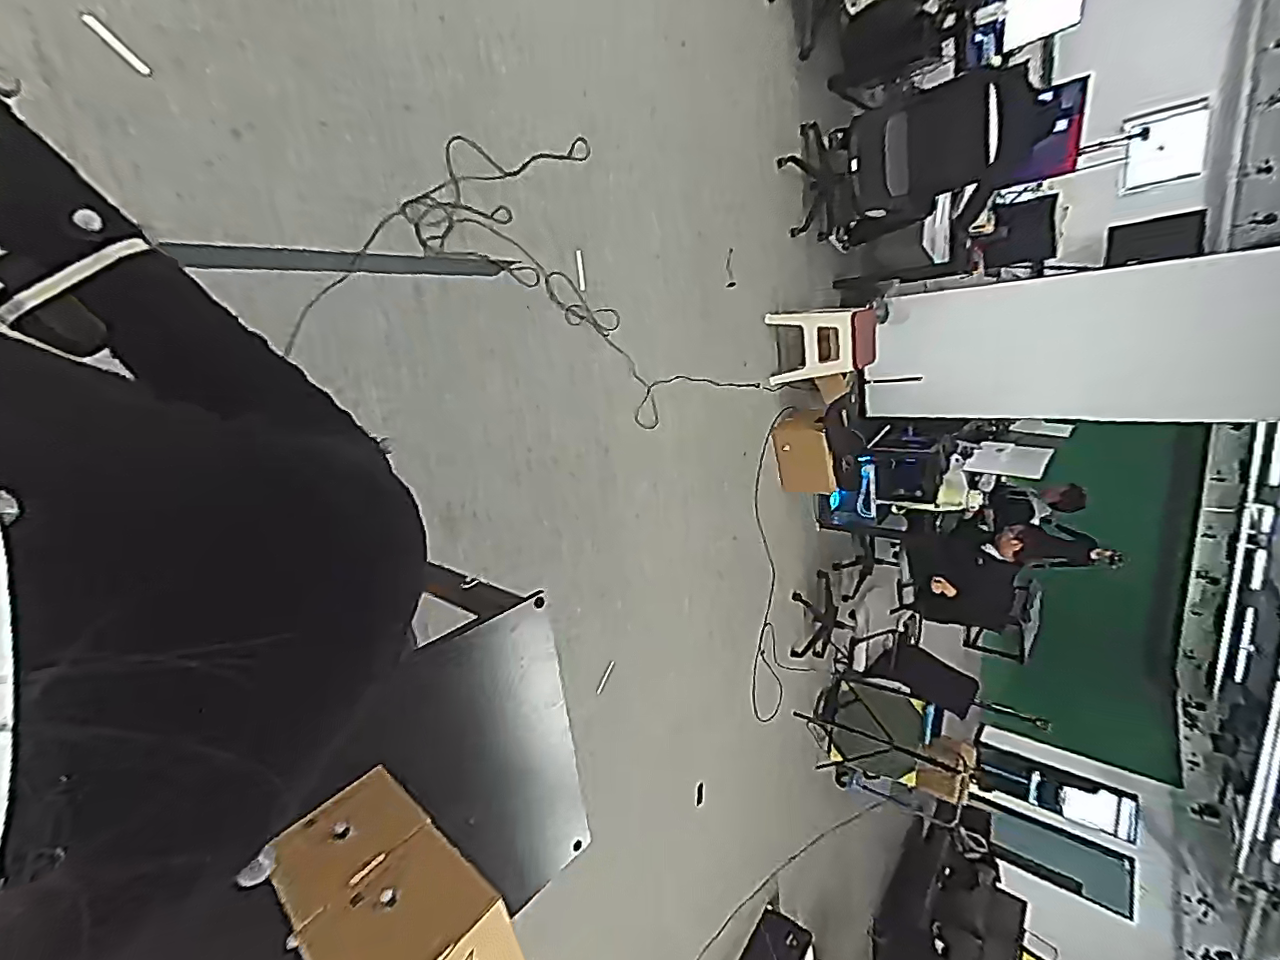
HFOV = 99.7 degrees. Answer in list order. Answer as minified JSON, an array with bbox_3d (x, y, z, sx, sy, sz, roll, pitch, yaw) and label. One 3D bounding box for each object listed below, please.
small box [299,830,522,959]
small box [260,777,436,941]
[{"bbox_3d":[-0.255,0.559,0.624,0.168,0.176,0.179,-29,116,-43],"label":"small box"},{"bbox_3d":[-0.379,0.542,0.734,0.168,0.176,0.179,-27,114,-43],"label":"small box"}]
